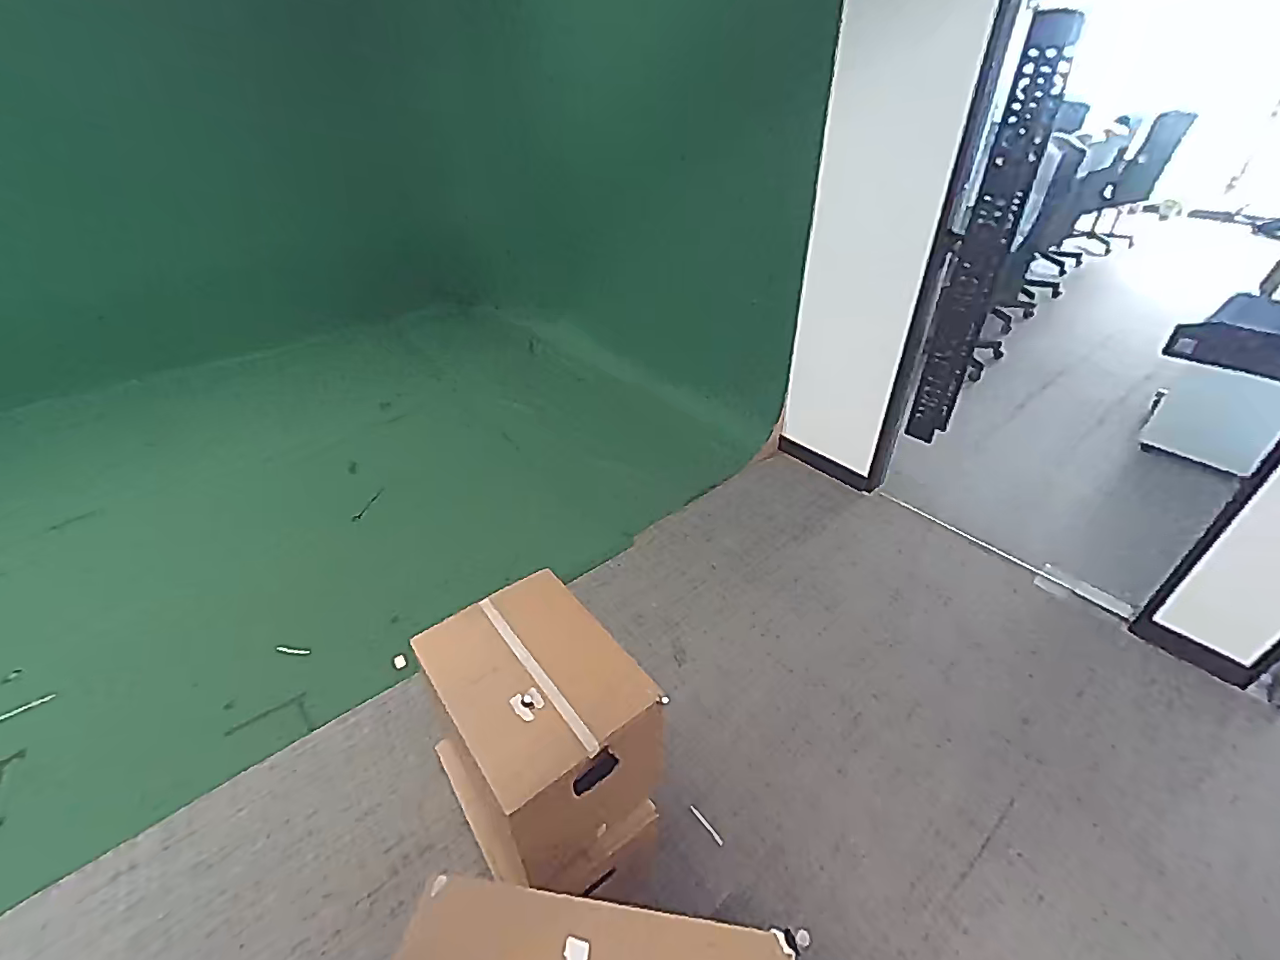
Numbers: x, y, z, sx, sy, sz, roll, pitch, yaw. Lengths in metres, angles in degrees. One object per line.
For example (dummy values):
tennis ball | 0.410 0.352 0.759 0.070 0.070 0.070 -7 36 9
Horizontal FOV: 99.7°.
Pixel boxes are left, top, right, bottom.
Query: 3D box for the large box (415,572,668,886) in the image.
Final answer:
large box | -0.198 0.463 1.075 0.320 0.320 0.408 -23 43 -31
